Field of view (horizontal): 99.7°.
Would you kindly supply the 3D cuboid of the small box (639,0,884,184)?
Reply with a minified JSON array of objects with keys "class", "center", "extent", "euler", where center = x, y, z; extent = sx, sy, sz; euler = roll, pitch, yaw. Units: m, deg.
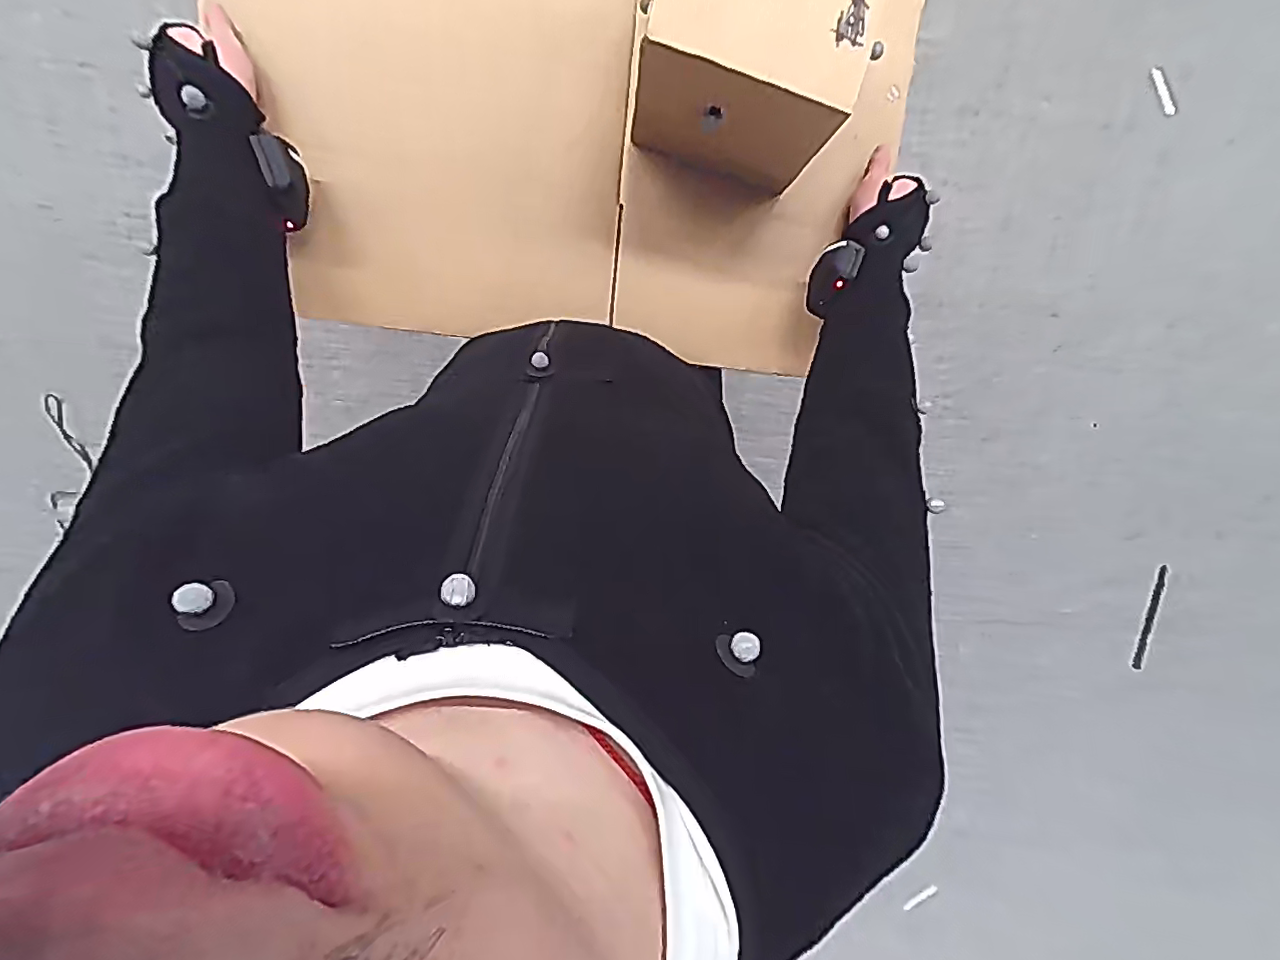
[{"class":"small box","center":[0.103,-0.404,0.496],"extent":[0.179,0.176,0.168],"euler":[15,98,-5]}]
